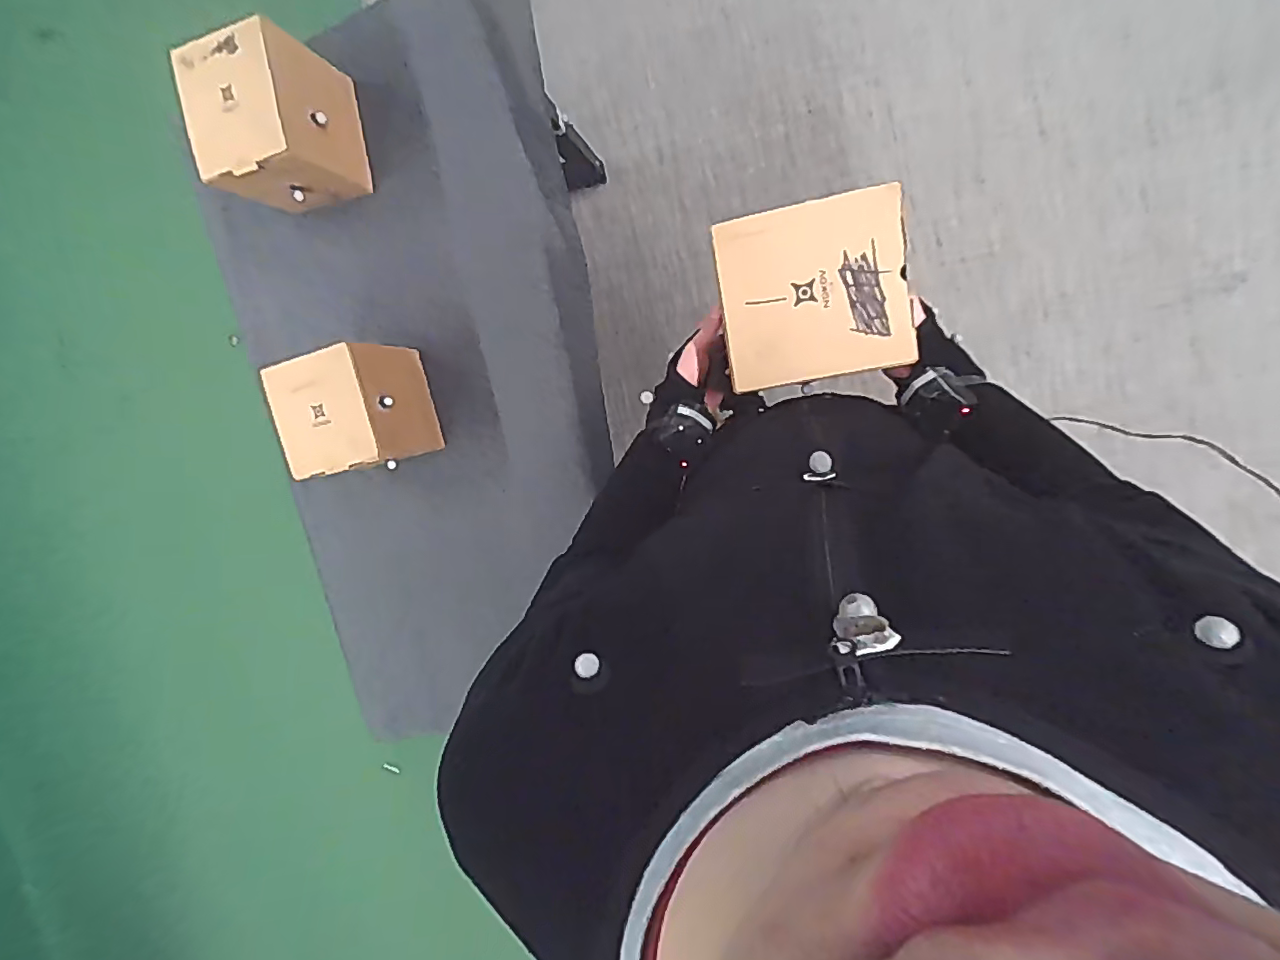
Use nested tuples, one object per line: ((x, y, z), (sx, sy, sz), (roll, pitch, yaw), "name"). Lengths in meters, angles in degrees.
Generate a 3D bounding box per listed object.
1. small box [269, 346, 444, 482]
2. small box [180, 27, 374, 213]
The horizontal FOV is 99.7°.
((-0.450, -0.108, 0.885), (0.168, 0.176, 0.179), (-12, 95, 15), "small box")
((-0.543, -0.532, 0.833), (0.168, 0.176, 0.179), (-6, 99, 15), "small box")
